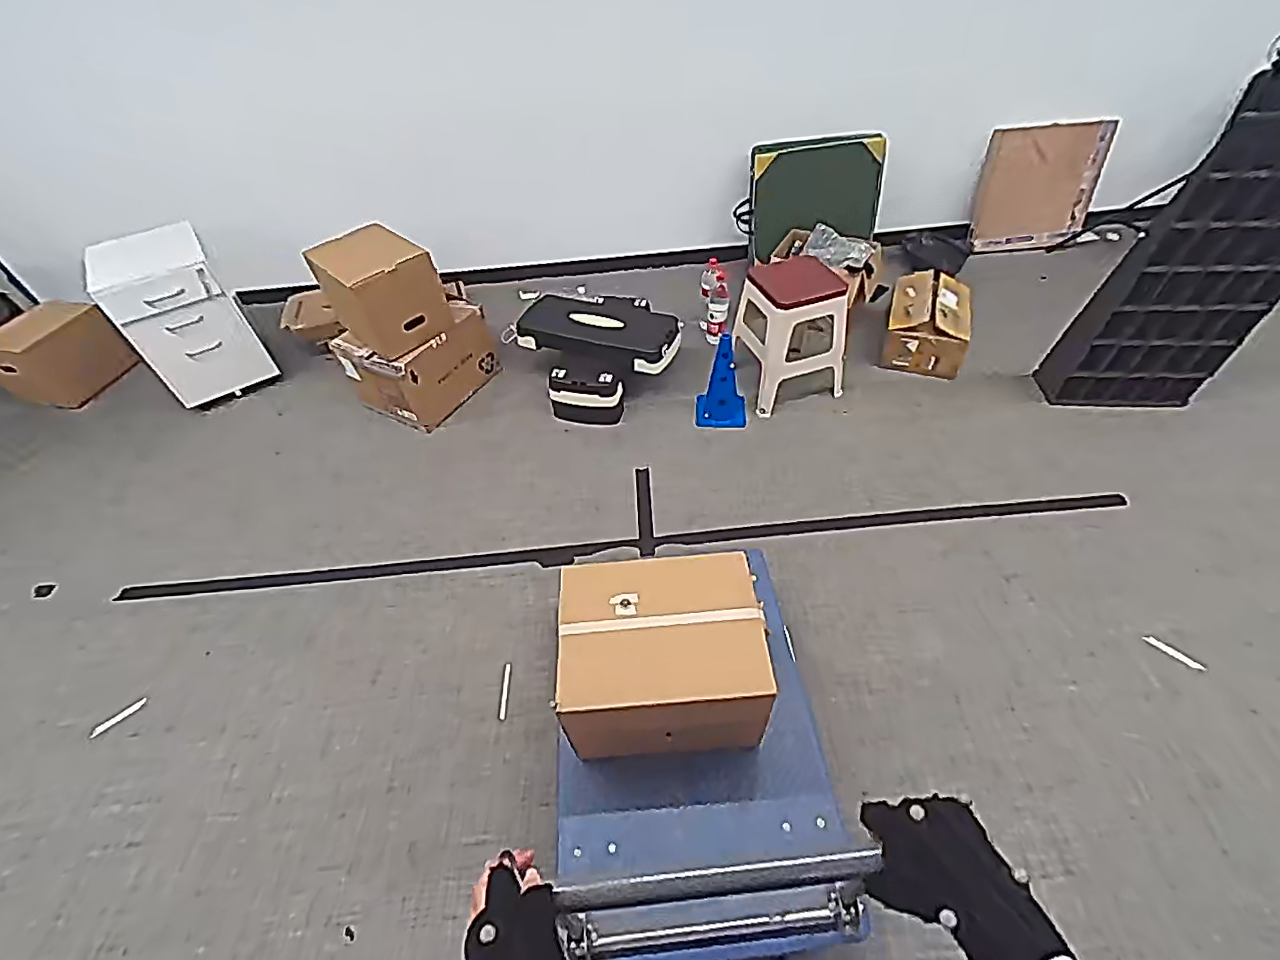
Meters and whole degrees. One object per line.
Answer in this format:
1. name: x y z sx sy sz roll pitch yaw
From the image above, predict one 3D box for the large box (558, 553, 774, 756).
1. large box: 0.049 0.391 1.193 0.408 0.320 0.320 -6 48 1
